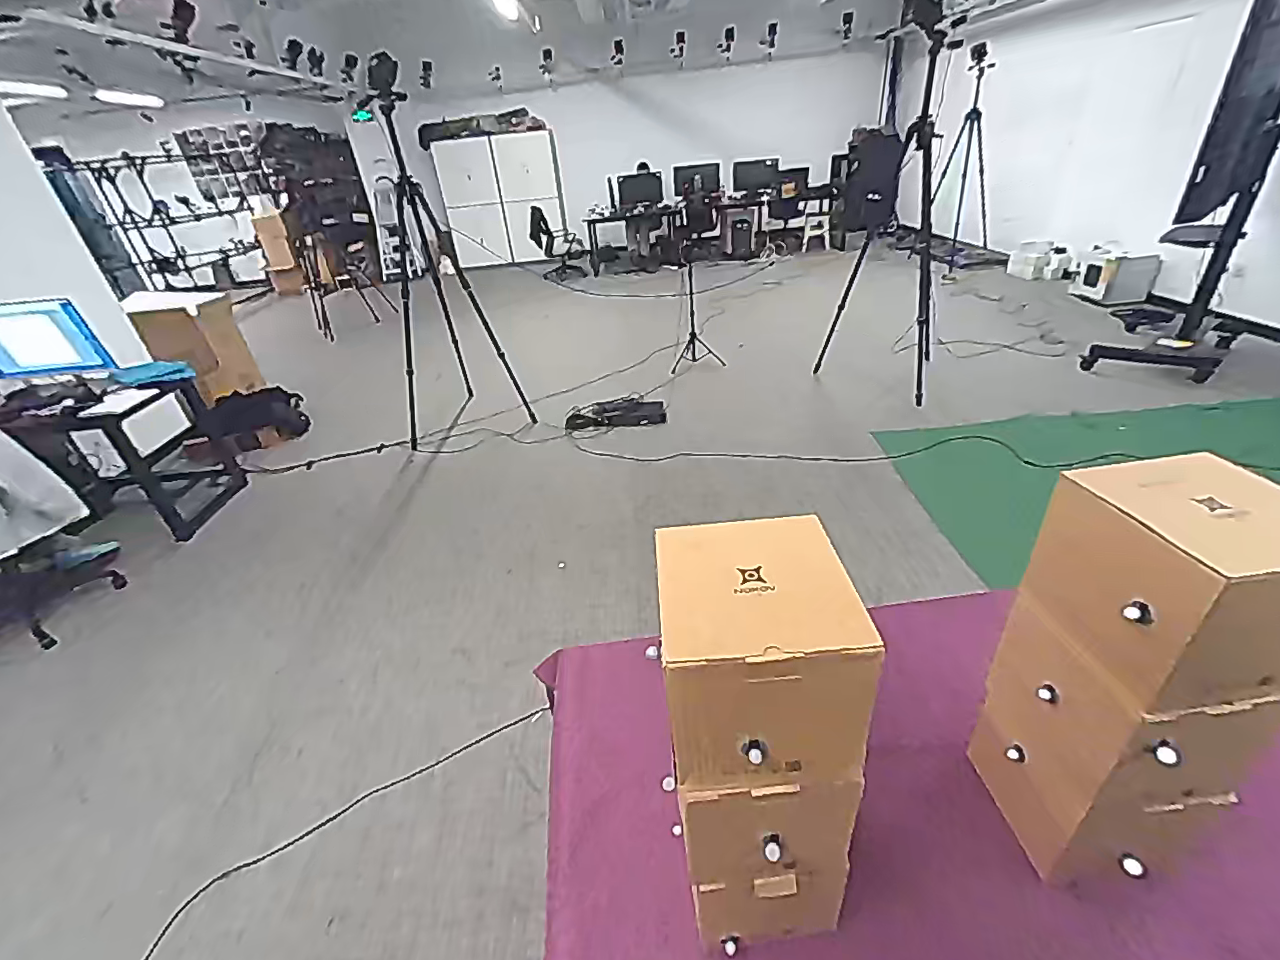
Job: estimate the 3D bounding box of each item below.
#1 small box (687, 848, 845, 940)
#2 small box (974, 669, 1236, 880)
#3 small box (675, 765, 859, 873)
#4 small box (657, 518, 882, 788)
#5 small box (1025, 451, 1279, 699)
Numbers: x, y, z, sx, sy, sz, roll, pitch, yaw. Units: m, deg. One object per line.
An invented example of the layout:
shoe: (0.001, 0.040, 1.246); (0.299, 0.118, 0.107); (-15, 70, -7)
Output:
small box: (0.140, 0.439, 0.679); (0.168, 0.176, 0.179); (-8, 31, -2)
small box: (0.568, 0.375, 0.697); (0.168, 0.176, 0.179); (-7, 32, 1)
small box: (0.120, 0.300, 0.594); (0.168, 0.176, 0.179); (-6, 32, 0)
small box: (0.104, 0.158, 0.514); (0.168, 0.176, 0.179); (-5, 32, 2)
small box: (0.532, 0.094, 0.533); (0.168, 0.176, 0.179); (-7, 31, -2)
